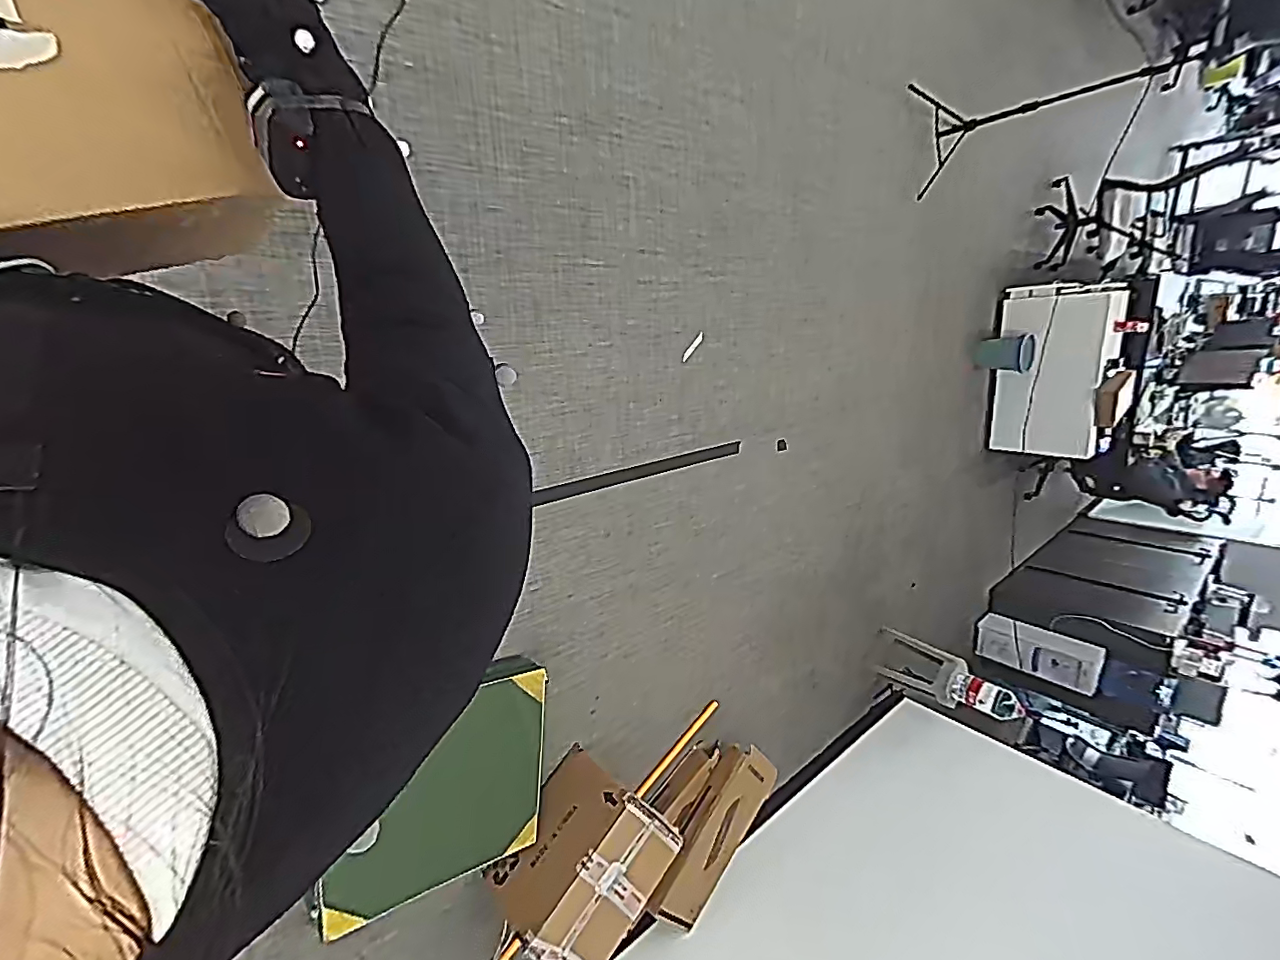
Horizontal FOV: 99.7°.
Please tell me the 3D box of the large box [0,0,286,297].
[{"bbox_3d":[-0.591,-0.326,0.424,0.408,0.320,0.320,-33,119,-34],"label":"large box"}]
